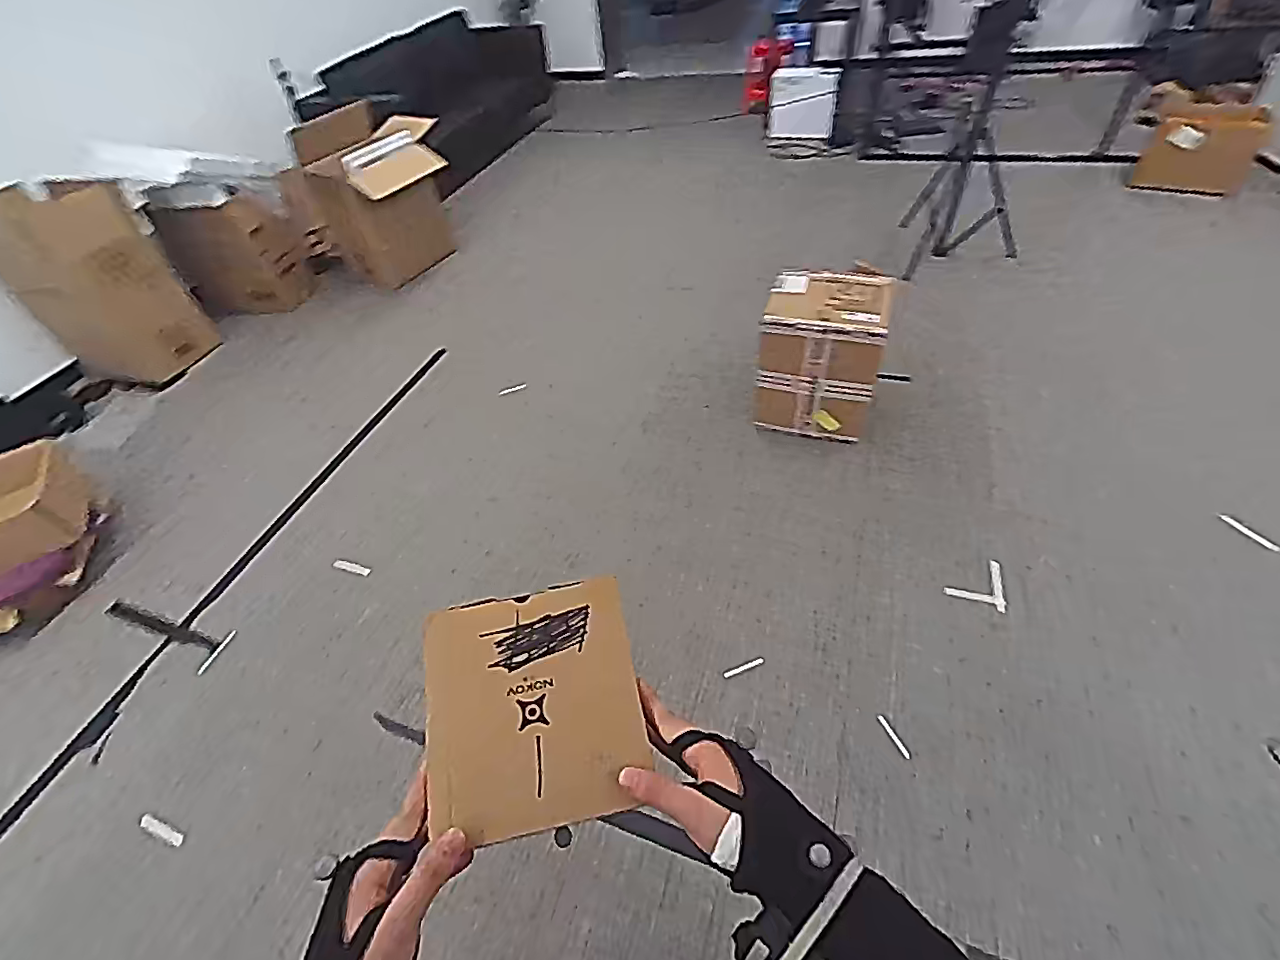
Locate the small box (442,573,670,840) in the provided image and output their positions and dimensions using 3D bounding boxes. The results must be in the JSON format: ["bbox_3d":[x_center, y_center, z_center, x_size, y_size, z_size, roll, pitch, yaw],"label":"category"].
[{"bbox_3d":[-0.073,0.208,0.496,0.168,0.176,0.179,-10,61,-5],"label":"small box"}]
